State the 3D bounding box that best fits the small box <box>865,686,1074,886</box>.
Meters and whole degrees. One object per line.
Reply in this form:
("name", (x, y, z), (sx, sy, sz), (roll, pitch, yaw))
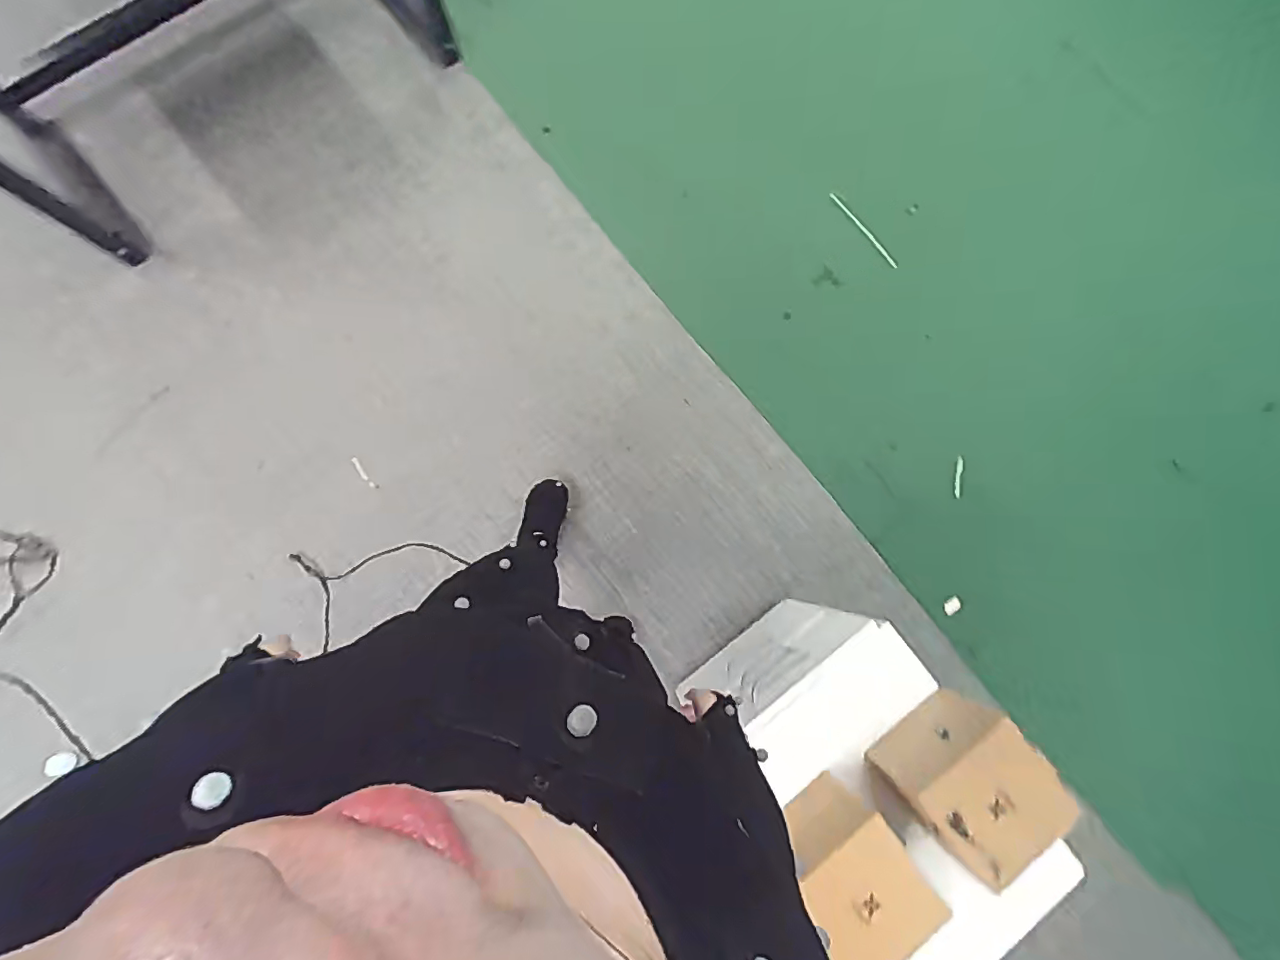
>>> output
("small box", (0.487, 0.448, 0.829), (0.179, 0.176, 0.168), (-37, 86, -6))
